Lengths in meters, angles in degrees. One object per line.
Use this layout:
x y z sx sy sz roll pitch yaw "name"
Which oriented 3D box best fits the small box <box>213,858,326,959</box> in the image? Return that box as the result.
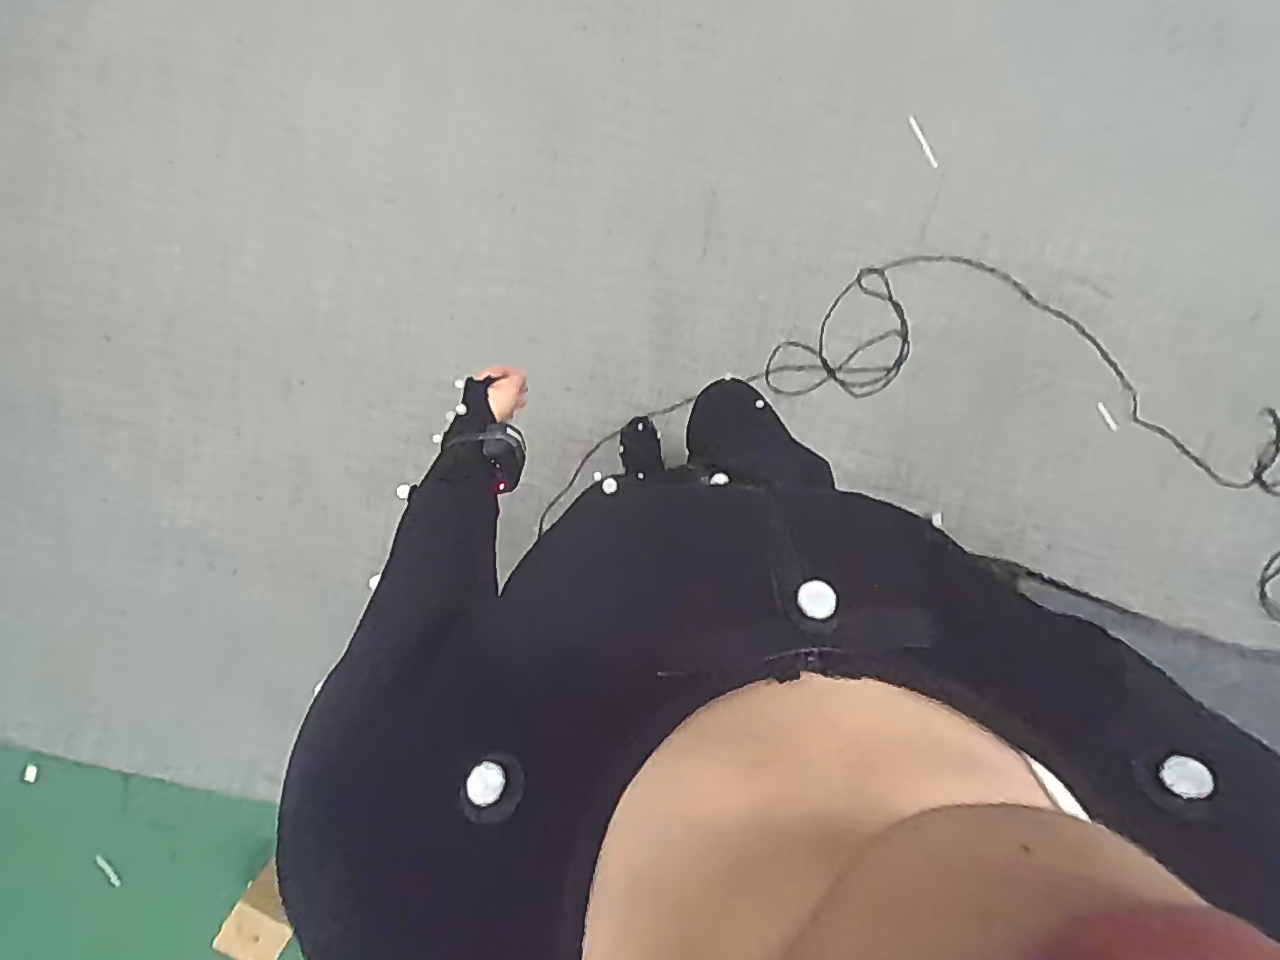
-1.052 1.242 1.553 0.179 0.176 0.168 33 96 -4 "small box"
